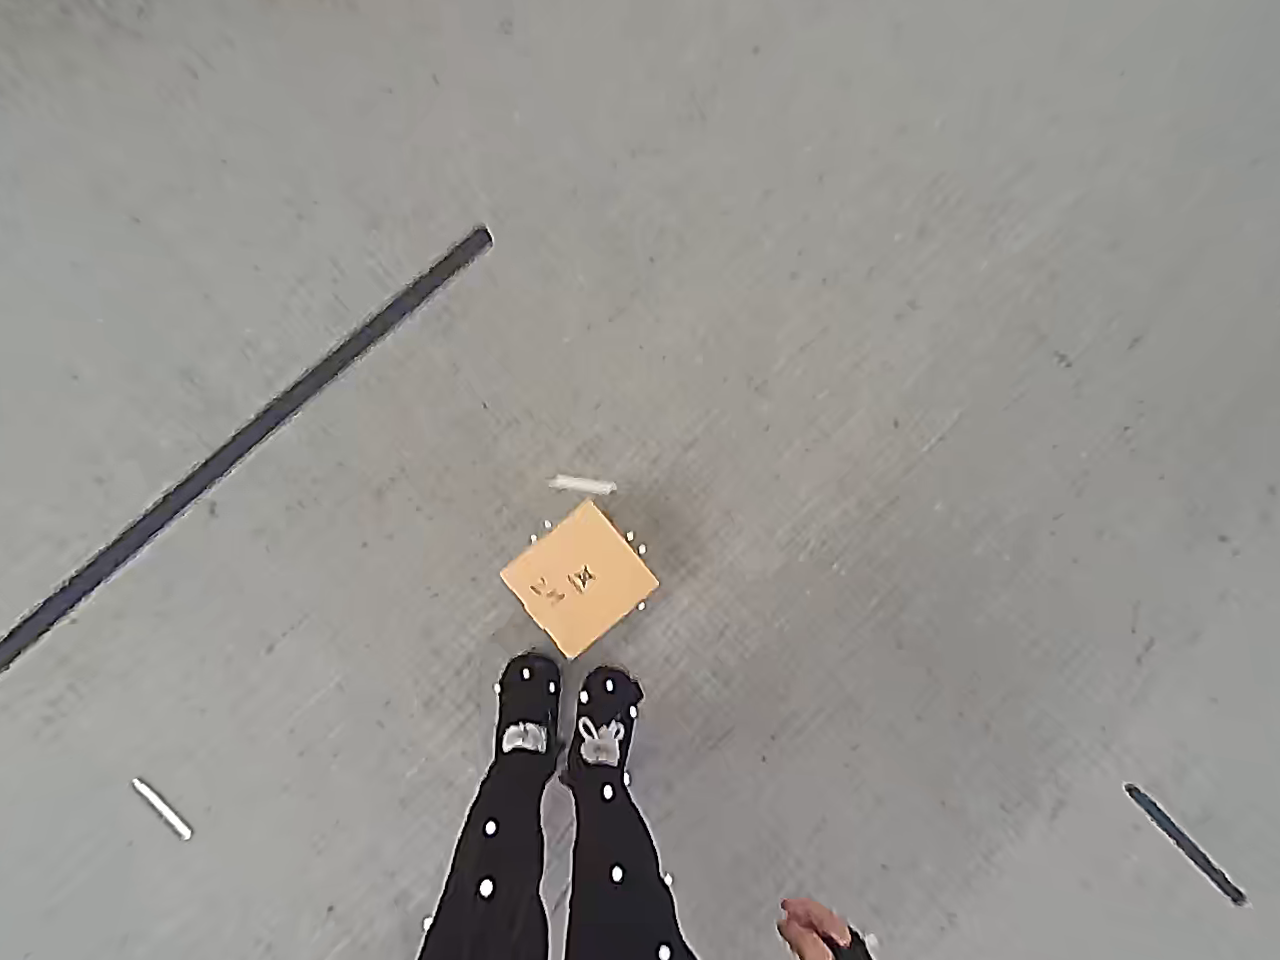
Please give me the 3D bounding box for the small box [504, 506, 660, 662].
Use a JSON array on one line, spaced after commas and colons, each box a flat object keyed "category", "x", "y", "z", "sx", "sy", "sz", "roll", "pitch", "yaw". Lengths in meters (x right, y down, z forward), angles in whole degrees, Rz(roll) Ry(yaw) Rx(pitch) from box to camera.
[{"category": "small box", "x": -0.091, "y": 0.155, "z": 0.874, "sx": 0.179, "sy": 0.176, "sz": 0.168, "roll": -39, "pitch": 90, "yaw": -4}]
